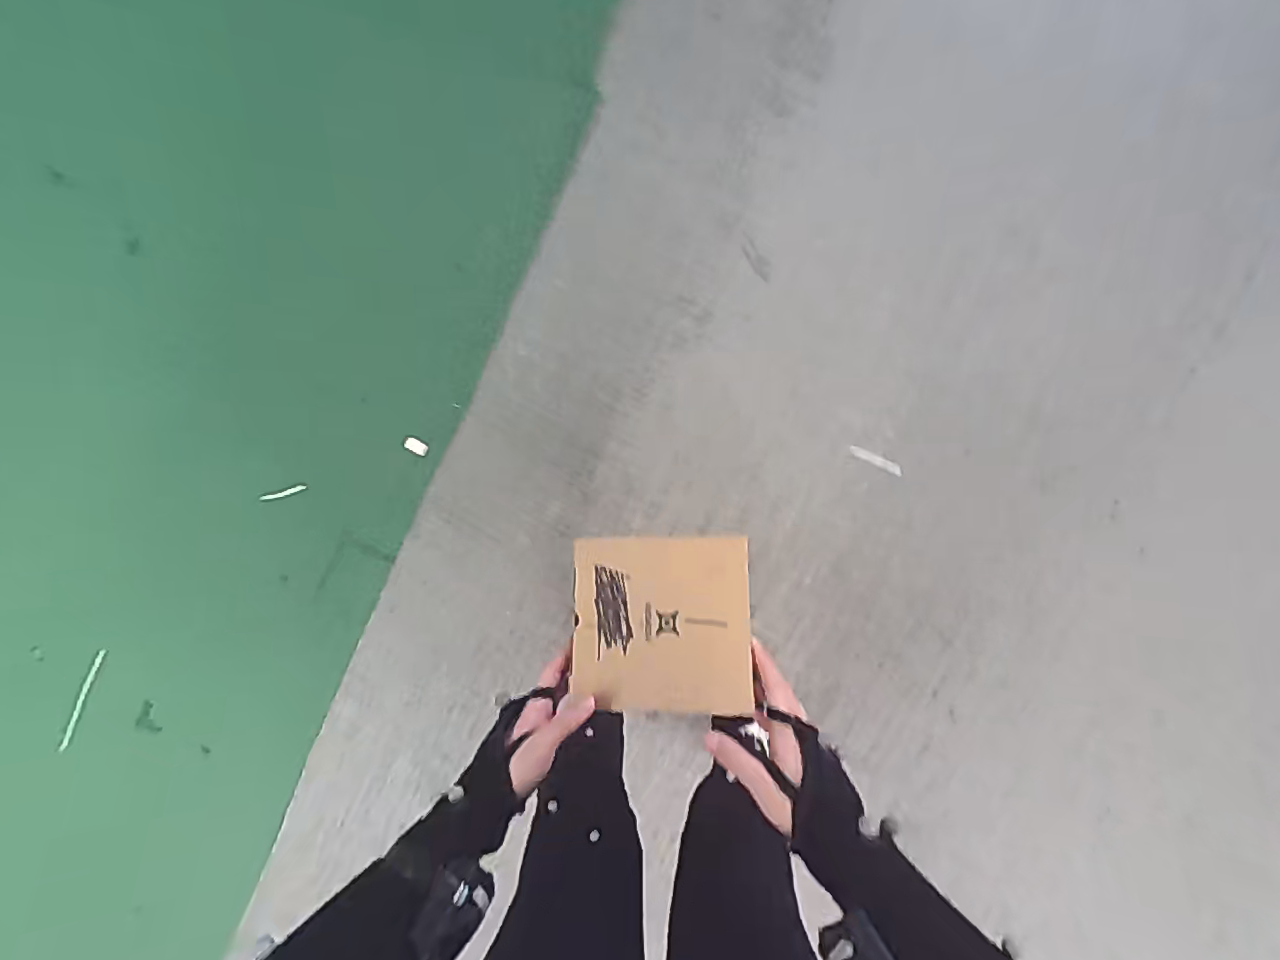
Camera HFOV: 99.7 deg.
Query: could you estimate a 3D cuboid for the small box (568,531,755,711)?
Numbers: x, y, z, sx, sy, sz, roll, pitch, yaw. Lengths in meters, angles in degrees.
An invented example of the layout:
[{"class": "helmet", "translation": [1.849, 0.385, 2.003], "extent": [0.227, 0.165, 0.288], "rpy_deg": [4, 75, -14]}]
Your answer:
[{"class": "small box", "translation": [0.029, 0.151, 0.591], "extent": [0.179, 0.176, 0.168], "rpy_deg": [-2, 76, 7]}]
